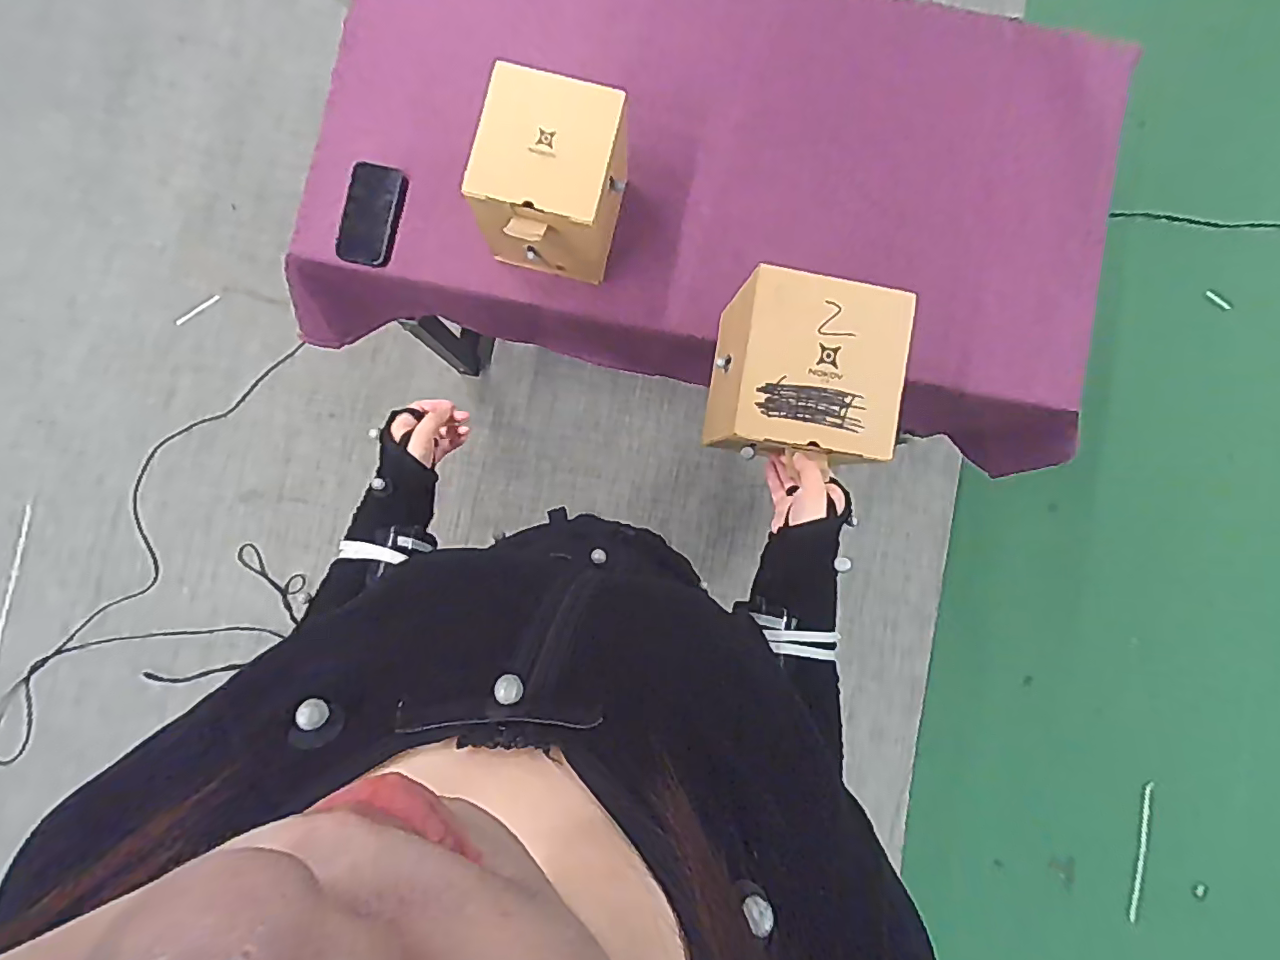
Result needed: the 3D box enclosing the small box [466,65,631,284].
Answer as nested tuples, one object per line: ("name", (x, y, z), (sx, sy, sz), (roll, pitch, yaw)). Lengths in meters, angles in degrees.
("small box", (-0.115, -0.399, 0.735), (0.168, 0.176, 0.179), (14, 86, -1))
